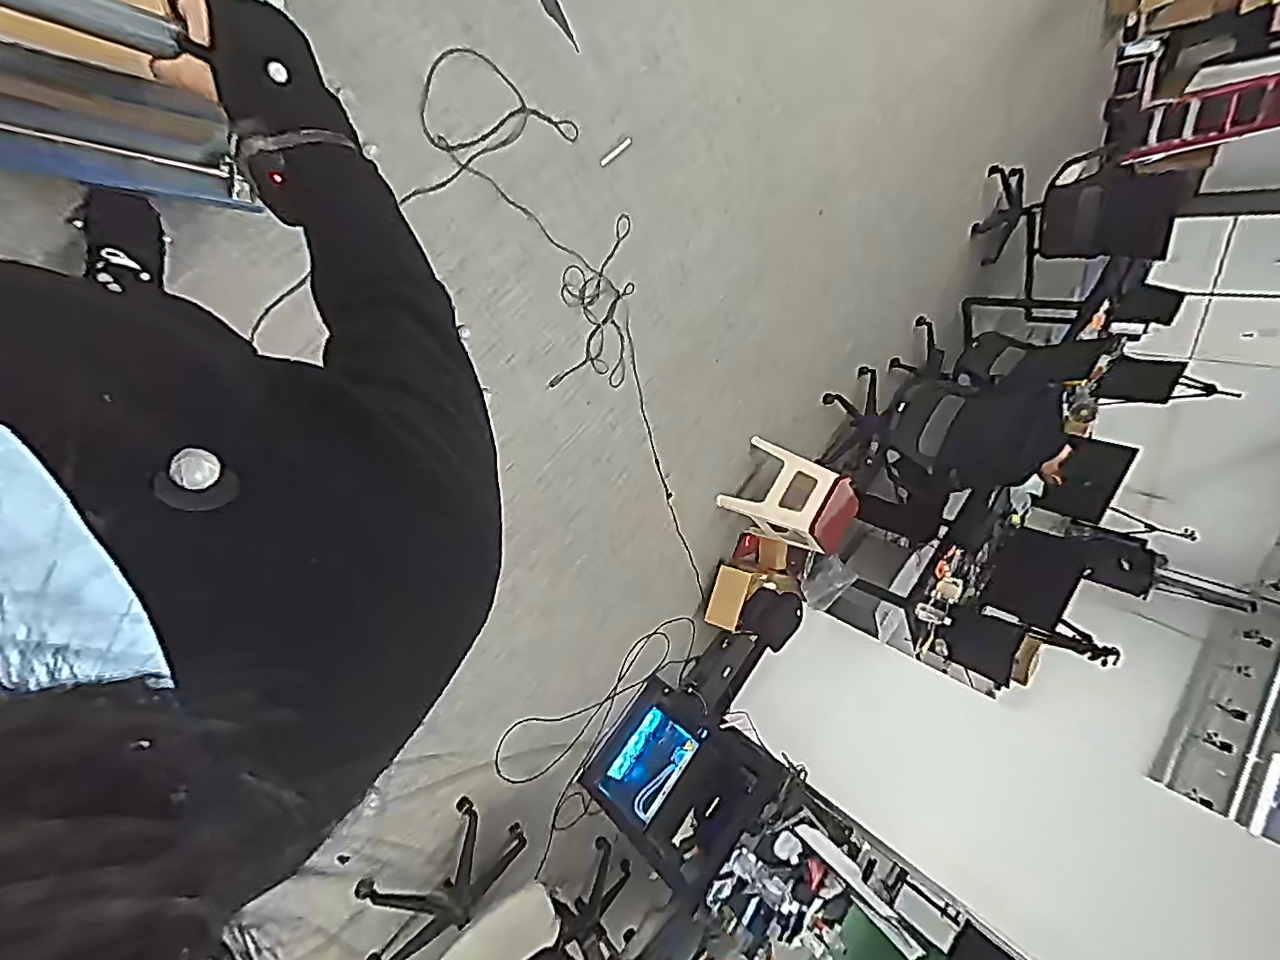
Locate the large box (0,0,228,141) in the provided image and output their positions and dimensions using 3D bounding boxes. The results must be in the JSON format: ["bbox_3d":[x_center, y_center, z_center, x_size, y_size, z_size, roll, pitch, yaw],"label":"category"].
[{"bbox_3d":[-0.789,-0.665,0.660,0.408,0.320,0.320,-8,112,-43],"label":"large box"}]
